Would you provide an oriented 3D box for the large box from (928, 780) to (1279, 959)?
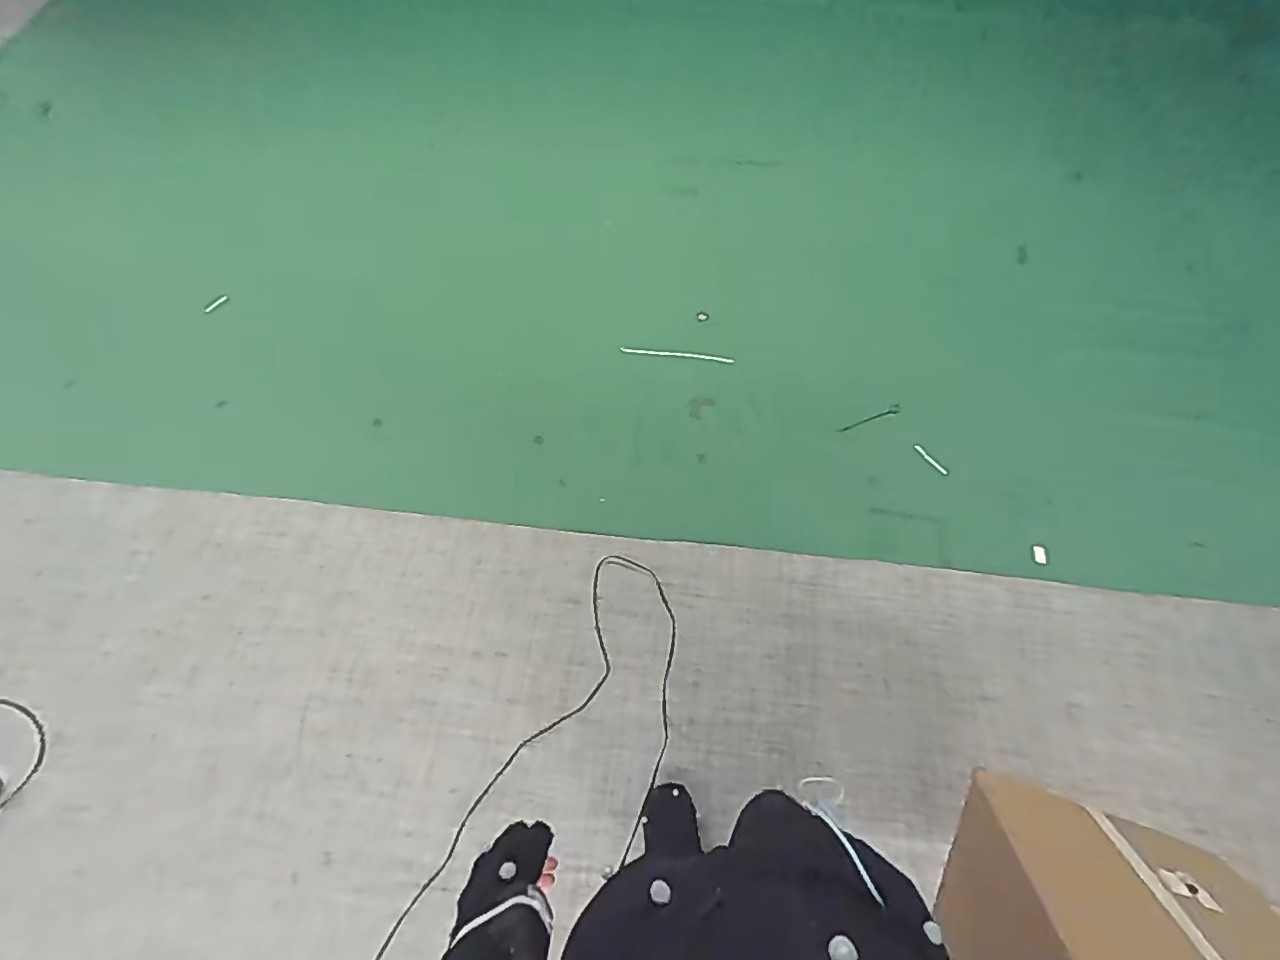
[{"bbox_3d":[0.570,0.648,0.620,0.320,0.408,0.320,15,95,17],"label":"large box"}]
